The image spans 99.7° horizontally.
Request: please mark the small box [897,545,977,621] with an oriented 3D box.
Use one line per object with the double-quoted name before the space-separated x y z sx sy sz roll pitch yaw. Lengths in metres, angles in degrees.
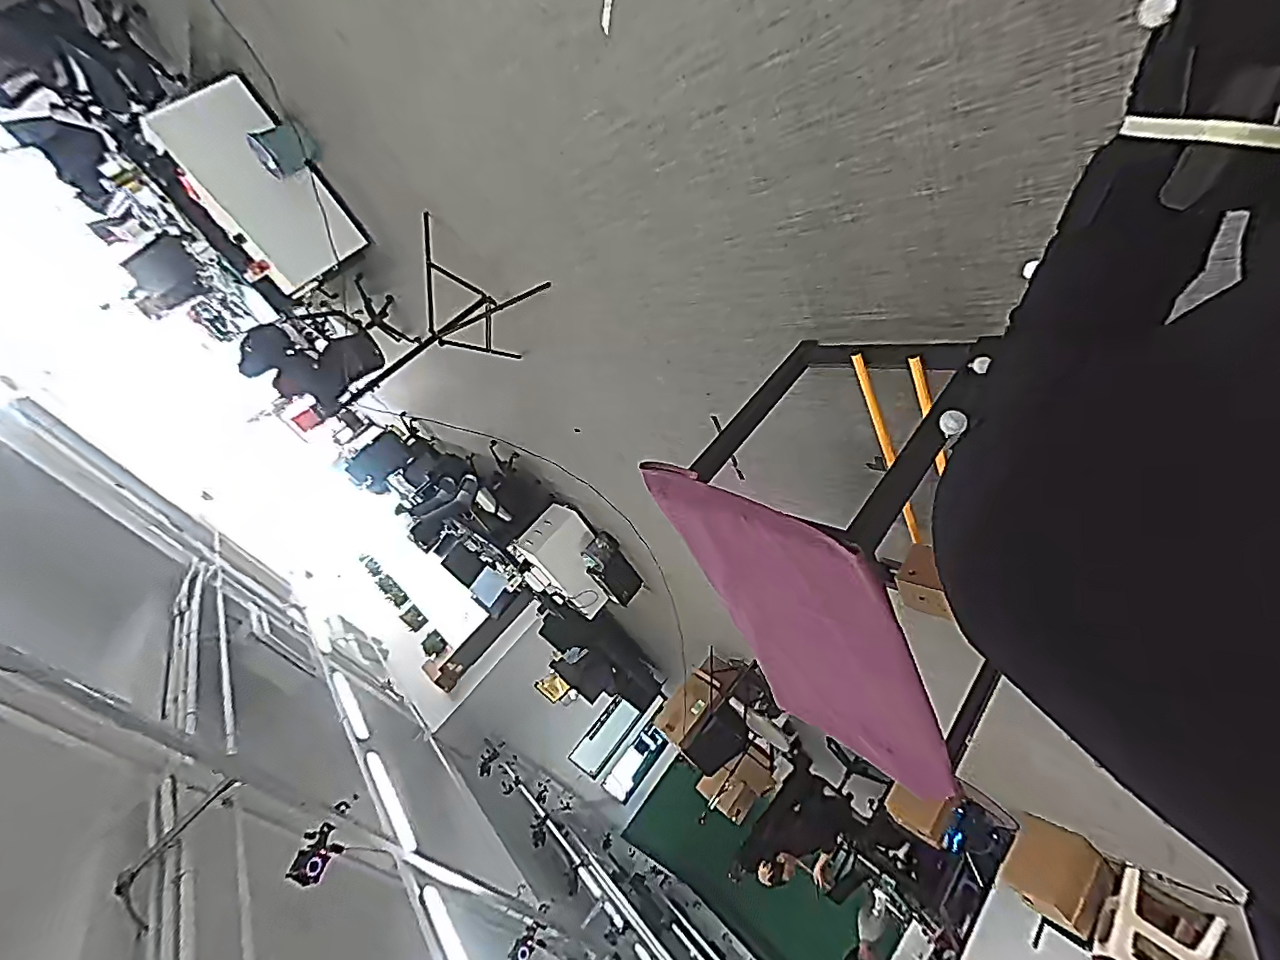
"small box" 1.014 0.345 1.842 0.179 0.176 0.168 10 143 51
